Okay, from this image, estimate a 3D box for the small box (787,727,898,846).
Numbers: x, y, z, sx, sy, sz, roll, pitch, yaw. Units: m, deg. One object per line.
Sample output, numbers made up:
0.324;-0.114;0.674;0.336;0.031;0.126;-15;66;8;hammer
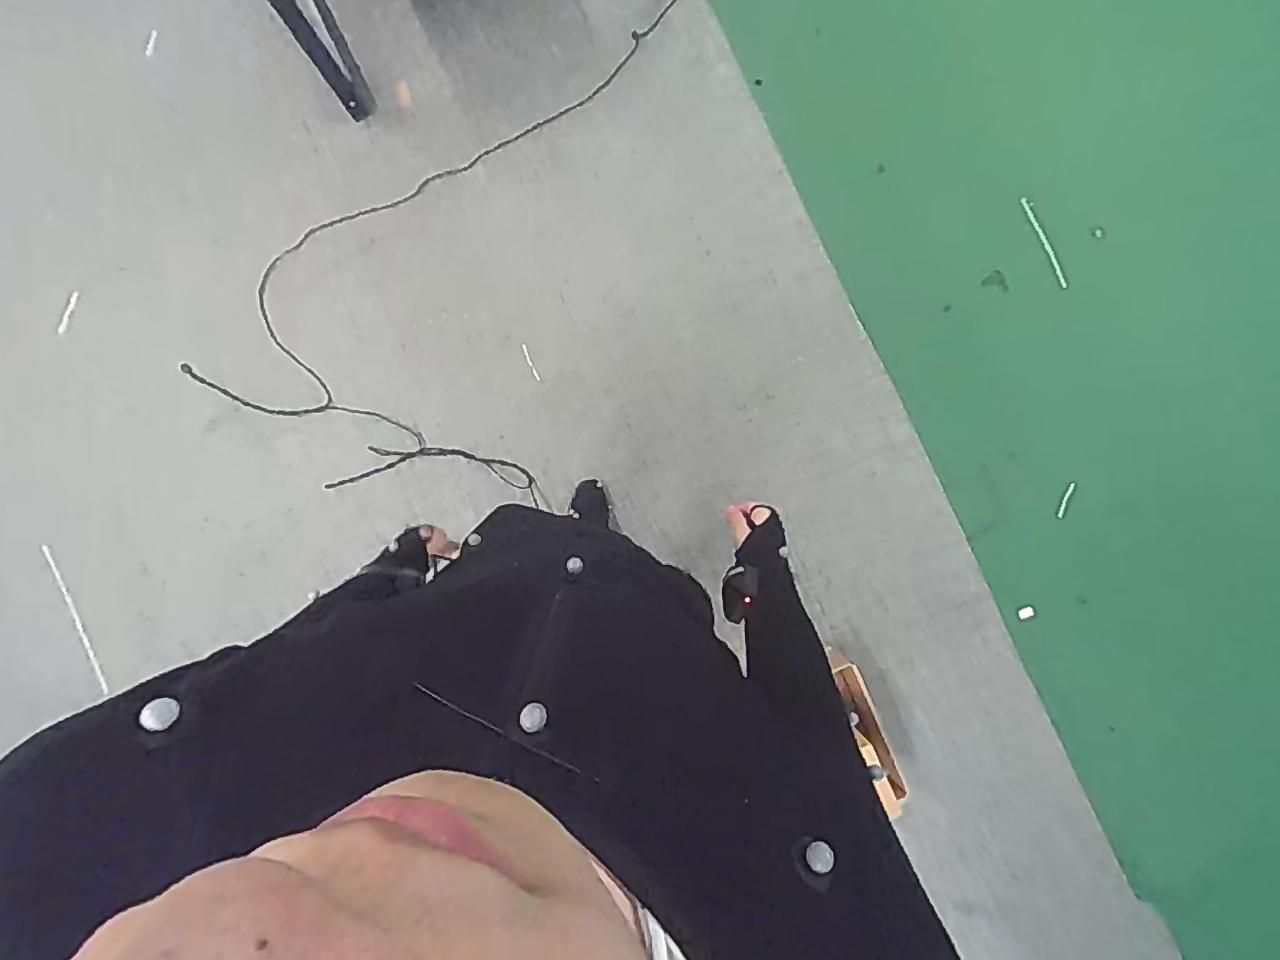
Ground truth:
0.482;0.730;1.317;0.168;0.176;0.179;-24;88;-3;small box
